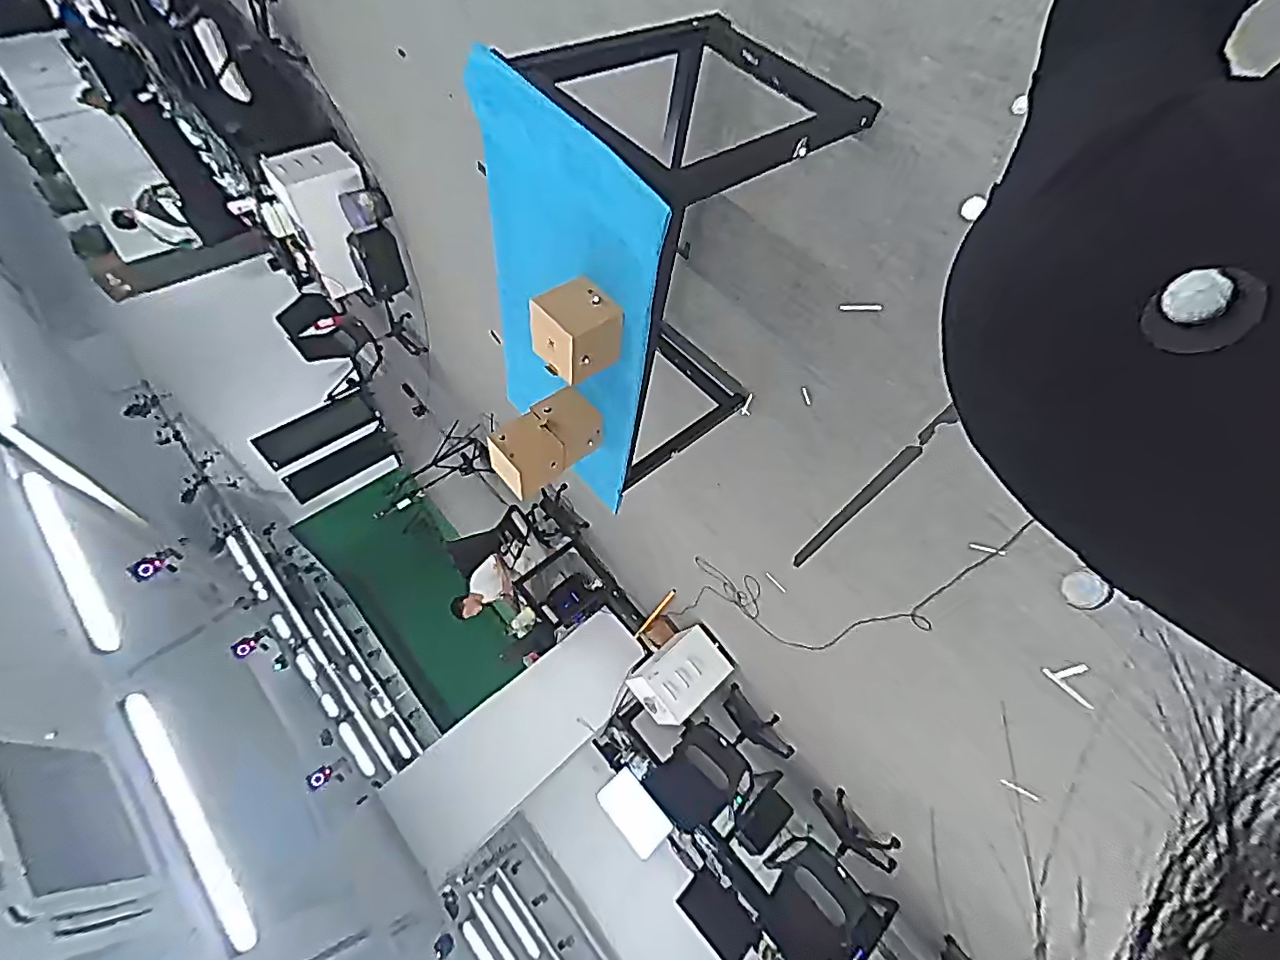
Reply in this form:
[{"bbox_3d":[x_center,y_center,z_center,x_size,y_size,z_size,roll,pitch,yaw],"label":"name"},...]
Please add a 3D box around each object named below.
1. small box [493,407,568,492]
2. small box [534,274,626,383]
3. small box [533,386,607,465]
[{"bbox_3d":[-0.345,-0.090,1.704,0.168,0.176,0.179,46,153,18],"label":"small box"},{"bbox_3d":[-0.152,-0.391,1.390,0.168,0.176,0.179,45,153,18],"label":"small box"},{"bbox_3d":[-0.231,-0.184,1.782,0.179,0.176,0.168,45,154,15],"label":"small box"}]
